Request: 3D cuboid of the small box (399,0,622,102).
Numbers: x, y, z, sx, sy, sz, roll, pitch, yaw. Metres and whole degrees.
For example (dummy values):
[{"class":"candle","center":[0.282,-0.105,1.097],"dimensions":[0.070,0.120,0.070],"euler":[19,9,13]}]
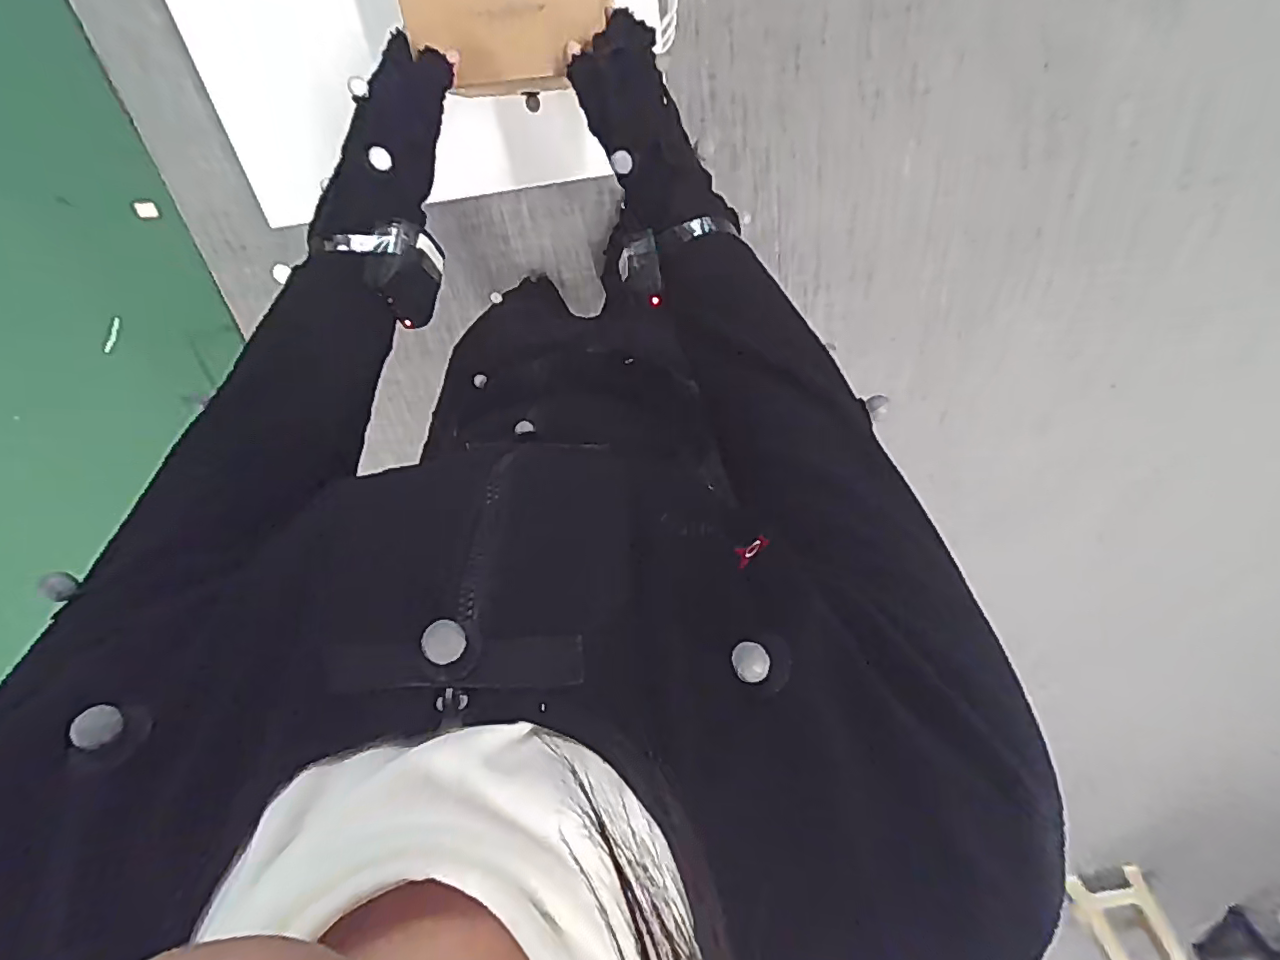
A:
[{"class":"small box","center":[-0.108,-0.446,0.469],"dimensions":[0.168,0.176,0.179],"euler":[-4,123,4]}]
